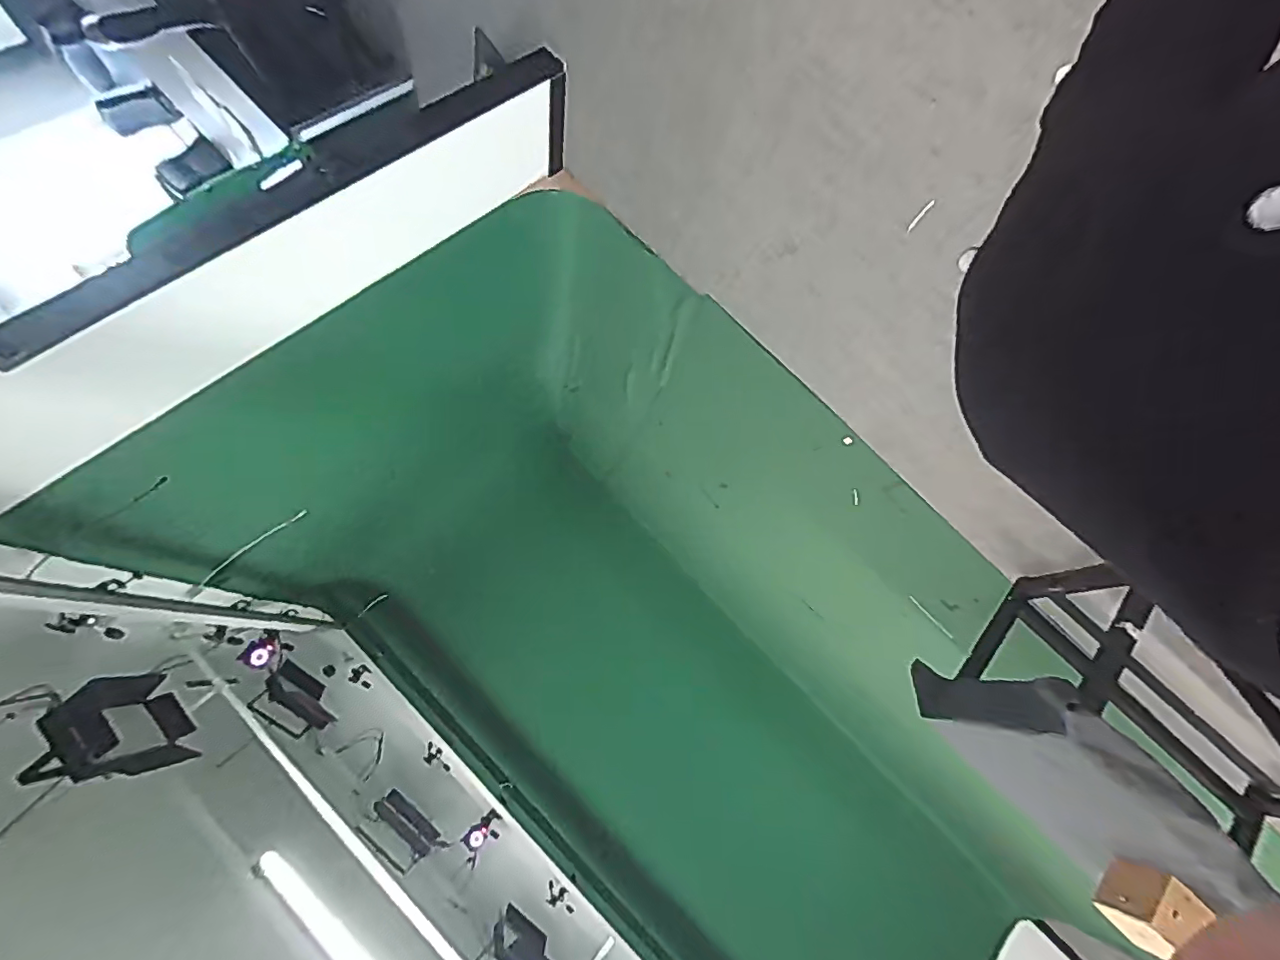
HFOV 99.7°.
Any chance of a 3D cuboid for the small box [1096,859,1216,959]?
[{"bbox_3d":[1.485,1.240,1.552,0.168,0.176,0.179,46,161,7],"label":"small box"}]
